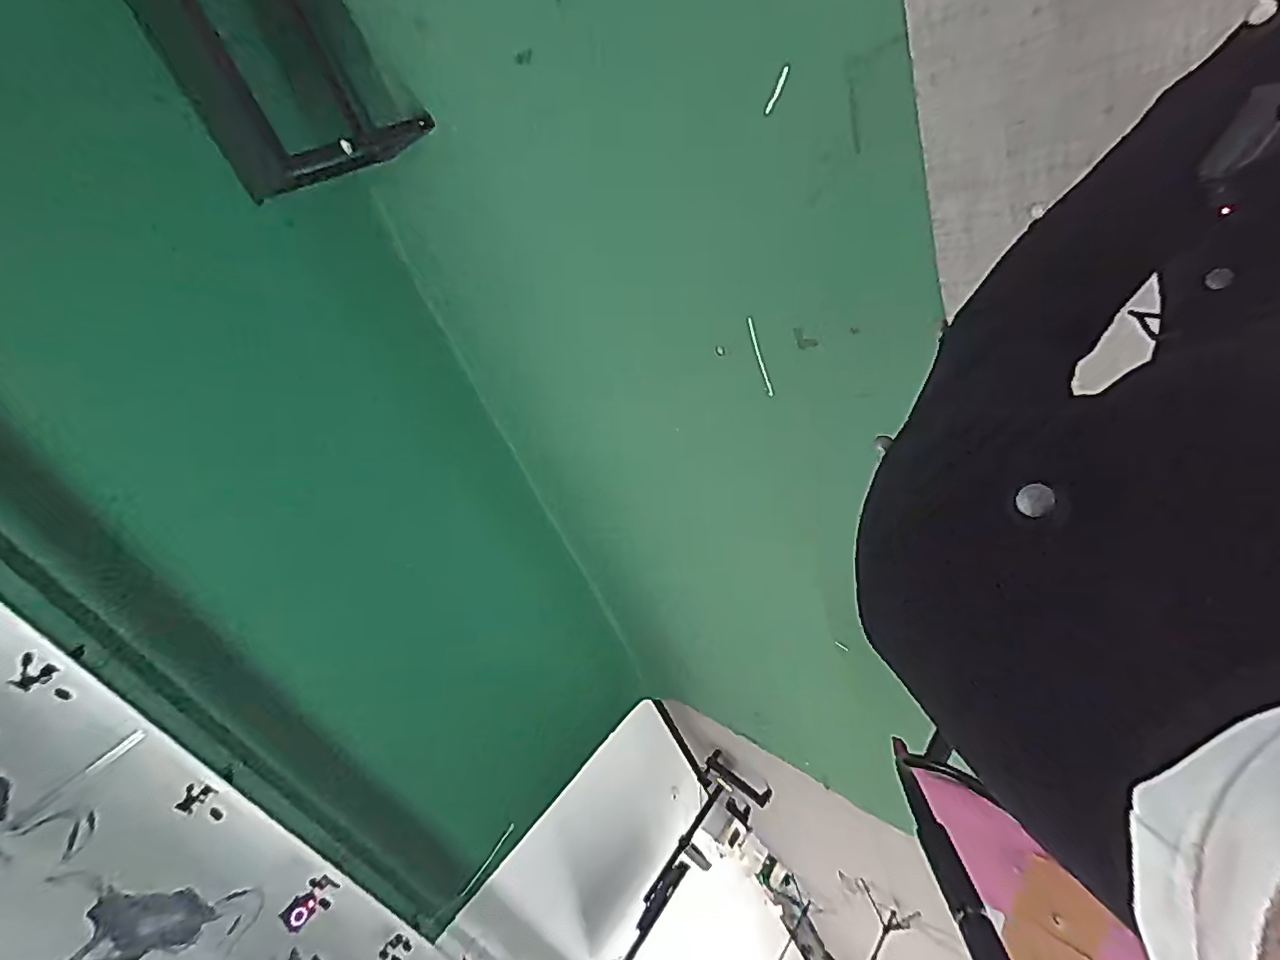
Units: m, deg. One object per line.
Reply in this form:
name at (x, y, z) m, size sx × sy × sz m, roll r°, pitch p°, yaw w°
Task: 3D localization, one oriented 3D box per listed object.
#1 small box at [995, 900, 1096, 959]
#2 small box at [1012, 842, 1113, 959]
small box at (0.980, 1.184, 1.315) m, size 0.179 × 0.176 × 0.168 m, roll 14°, pitch 136°, yaw 43°
small box at (1.085, 1.089, 1.396) m, size 0.179 × 0.176 × 0.168 m, roll 18°, pitch 139°, yaw 41°
